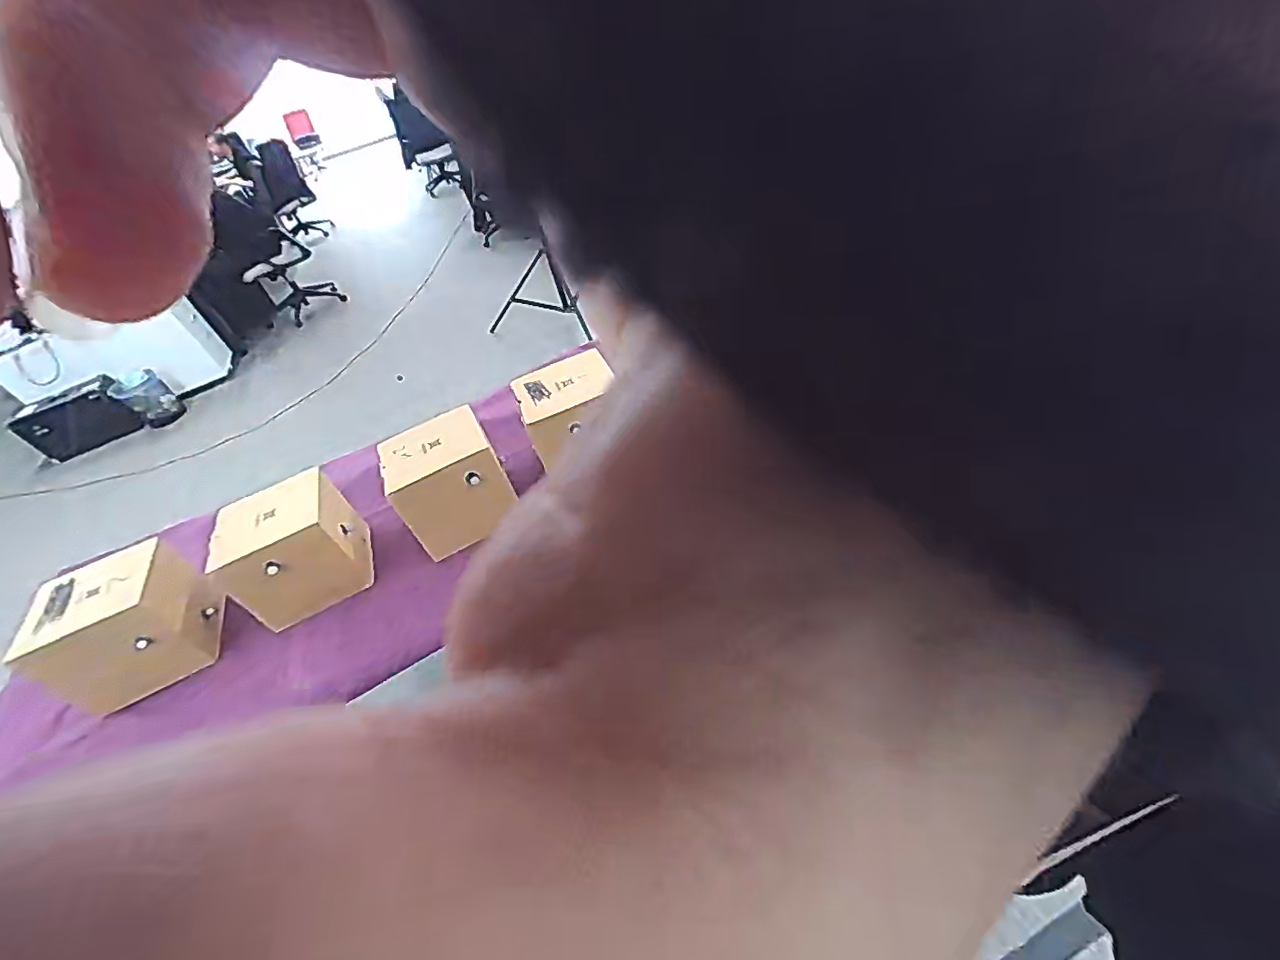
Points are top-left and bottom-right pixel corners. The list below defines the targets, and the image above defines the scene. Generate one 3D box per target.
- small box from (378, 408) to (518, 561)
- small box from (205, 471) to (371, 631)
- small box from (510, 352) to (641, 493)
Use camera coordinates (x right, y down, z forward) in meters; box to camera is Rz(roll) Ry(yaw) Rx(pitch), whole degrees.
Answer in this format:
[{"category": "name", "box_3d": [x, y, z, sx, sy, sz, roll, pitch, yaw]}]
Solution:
[{"category": "small box", "box_3d": [-0.332, 0.007, 0.957, 0.179, 0.176, 0.168, -28, 41, -11]}, {"category": "small box", "box_3d": [-0.584, 0.122, 0.926, 0.179, 0.176, 0.168, -27, 43, -10]}, {"category": "small box", "box_3d": [-0.118, -0.104, 1.002, 0.179, 0.176, 0.168, -23, 41, -7]}]
